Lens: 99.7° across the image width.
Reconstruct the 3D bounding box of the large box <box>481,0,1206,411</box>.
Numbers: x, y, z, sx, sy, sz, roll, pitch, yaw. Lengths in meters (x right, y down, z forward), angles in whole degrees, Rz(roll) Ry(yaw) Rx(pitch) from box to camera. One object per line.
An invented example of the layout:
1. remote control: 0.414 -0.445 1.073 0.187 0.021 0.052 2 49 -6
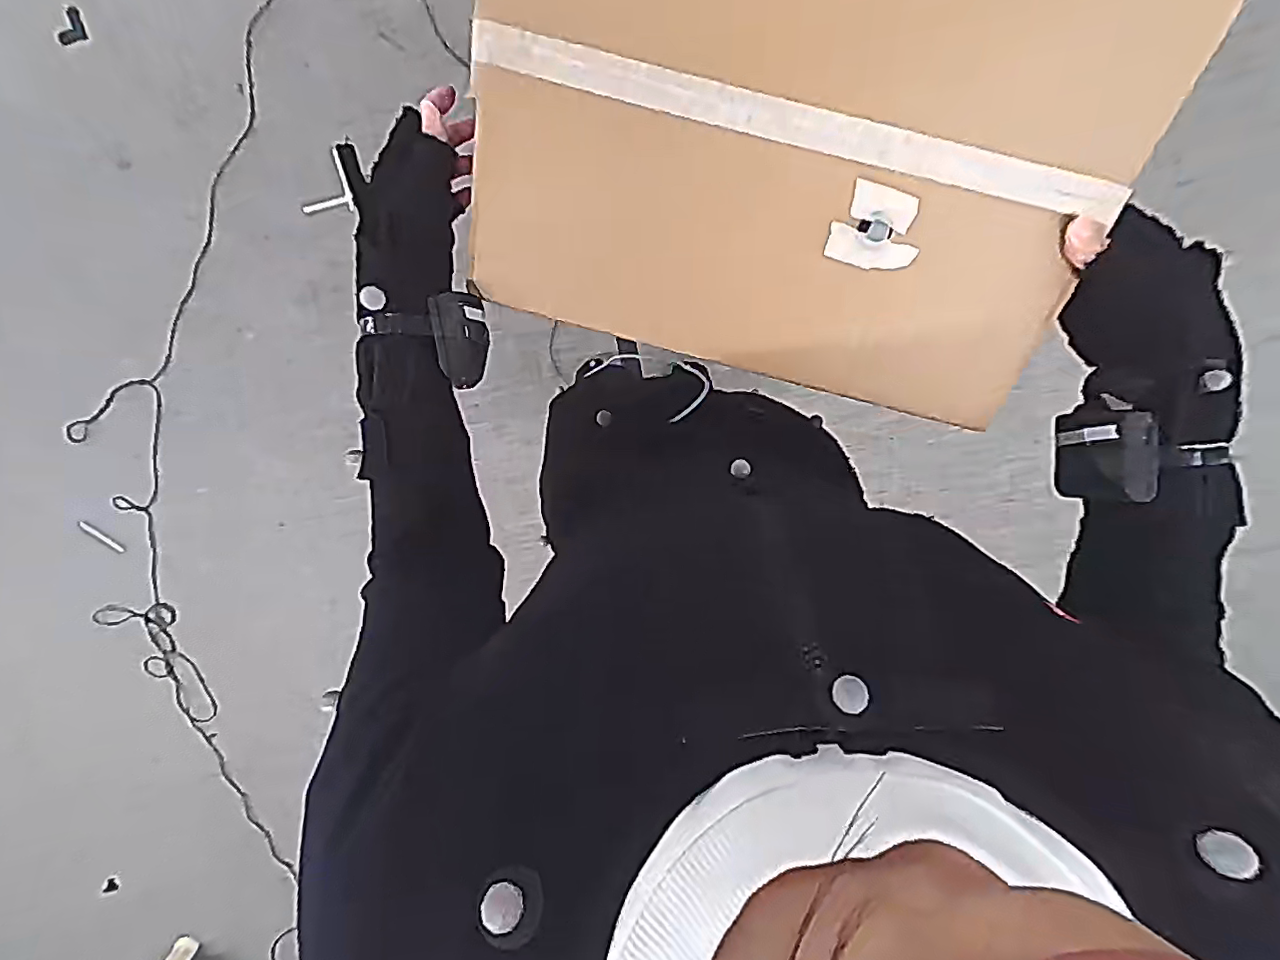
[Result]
1. large box: 0.113 -0.296 0.476 0.408 0.320 0.320 14 120 0
